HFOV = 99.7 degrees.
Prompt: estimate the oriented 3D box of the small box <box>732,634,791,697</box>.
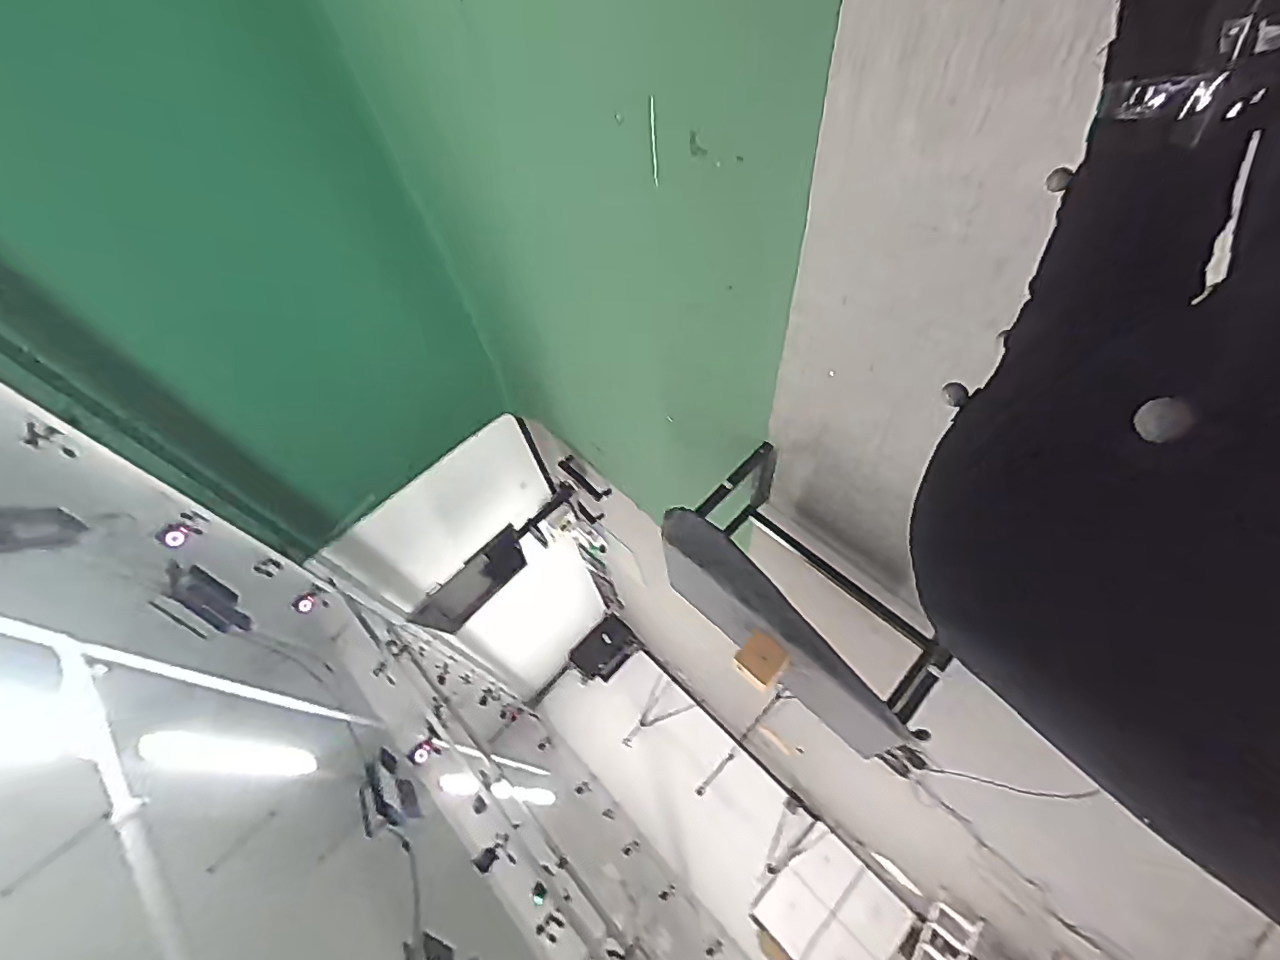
[{"bbox_3d":[0.514,0.782,2.299,0.179,0.176,0.168,38,159,31],"label":"small box"}]
